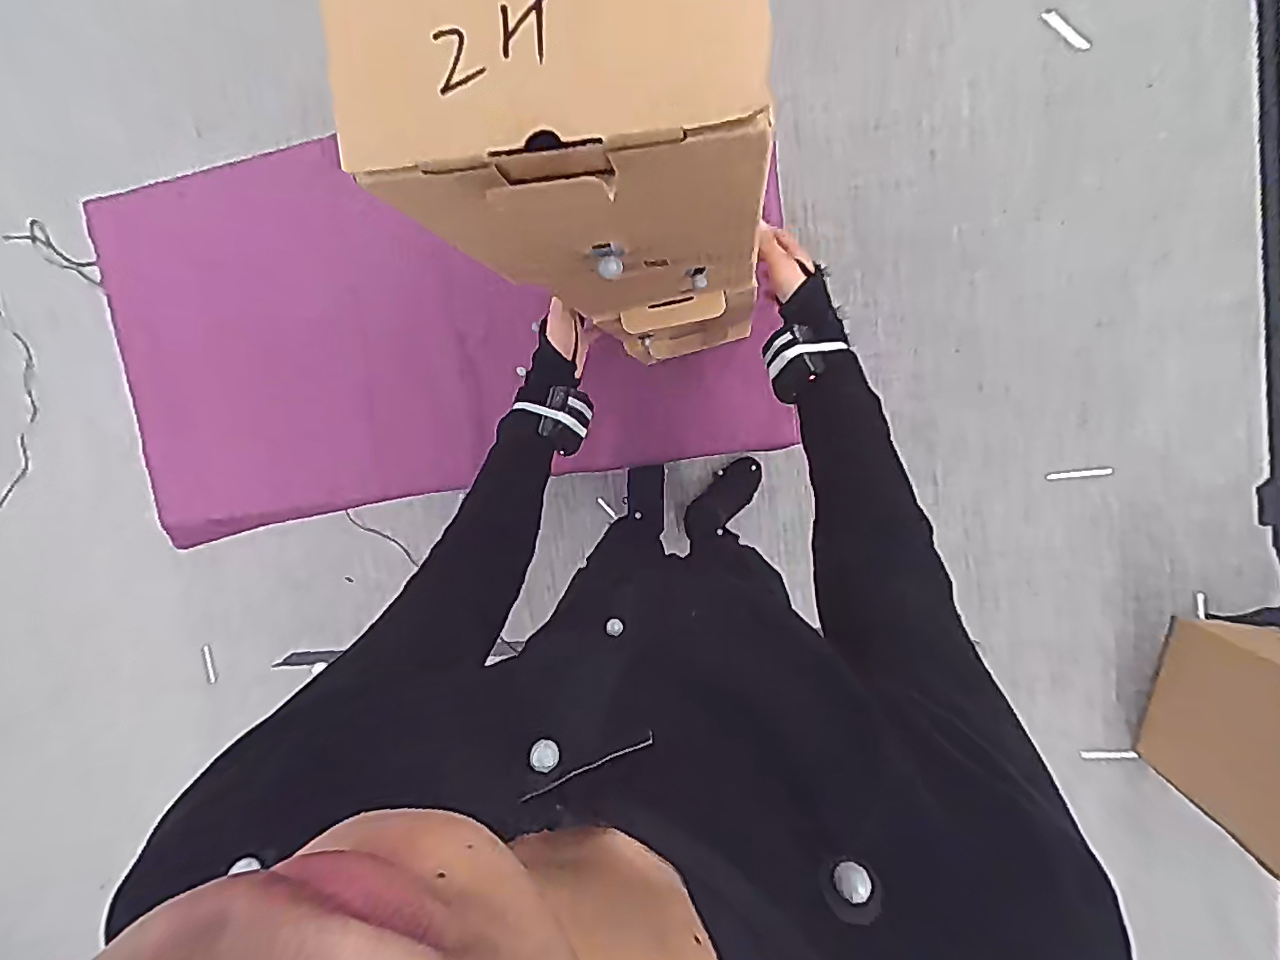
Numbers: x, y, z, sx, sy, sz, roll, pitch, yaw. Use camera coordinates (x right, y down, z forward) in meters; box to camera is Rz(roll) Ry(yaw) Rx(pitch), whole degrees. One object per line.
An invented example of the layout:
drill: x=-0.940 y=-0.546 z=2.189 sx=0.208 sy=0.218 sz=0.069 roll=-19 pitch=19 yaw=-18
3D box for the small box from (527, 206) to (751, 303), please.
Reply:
small box: x=-0.004 y=-0.249 z=0.428 sx=0.168 sy=0.176 sz=0.179 roll=-8 pitch=95 yaw=10

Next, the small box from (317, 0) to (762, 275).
small box: x=-0.028 y=-0.218 z=0.268 sx=0.168 sy=0.176 sz=0.179 roll=-1 pitch=97 yaw=10

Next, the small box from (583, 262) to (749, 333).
small box: x=0.026 y=-0.265 z=0.587 sx=0.168 sy=0.176 sz=0.179 roll=-9 pitch=94 yaw=11
